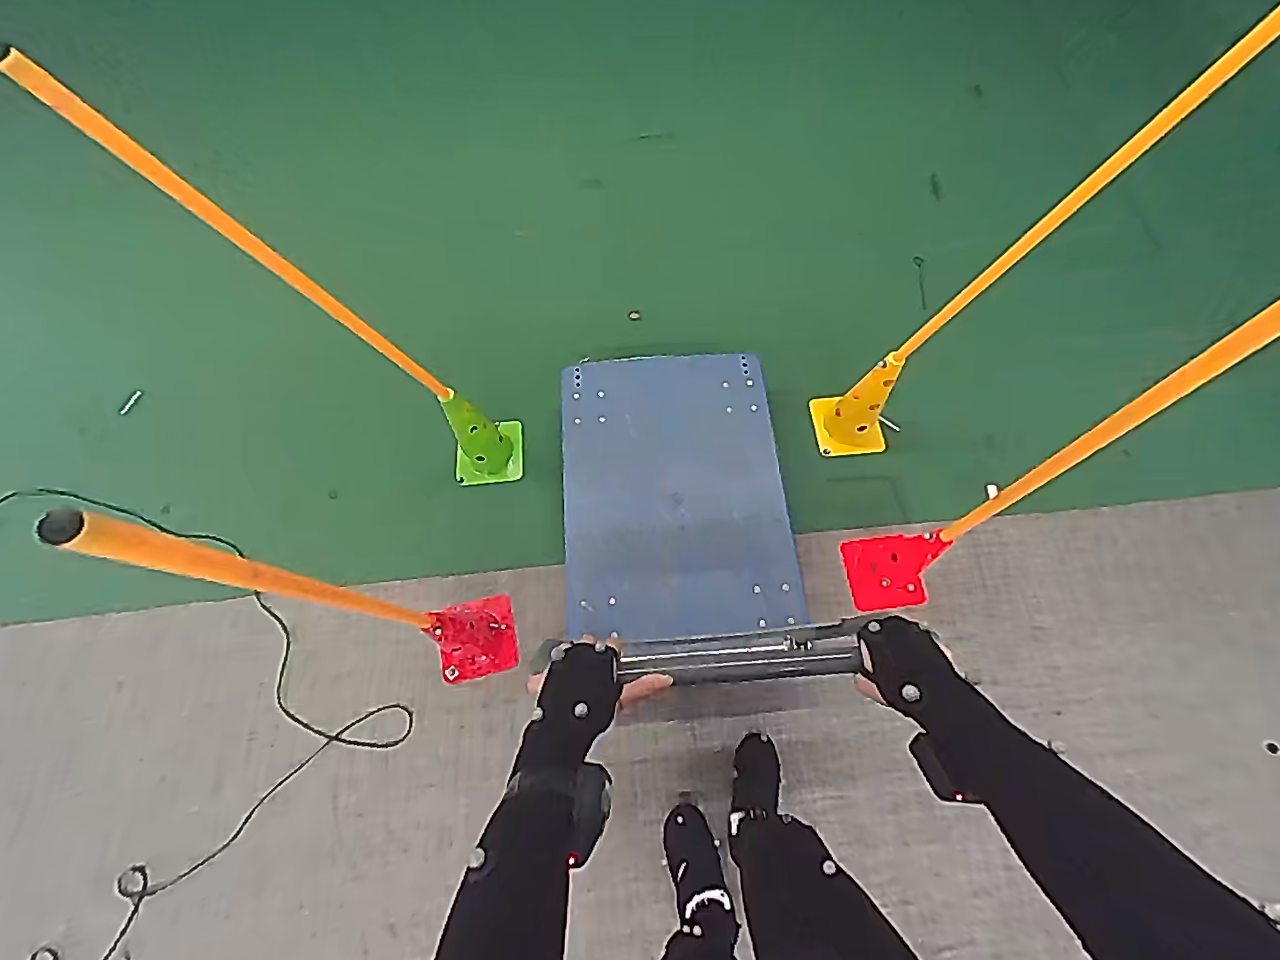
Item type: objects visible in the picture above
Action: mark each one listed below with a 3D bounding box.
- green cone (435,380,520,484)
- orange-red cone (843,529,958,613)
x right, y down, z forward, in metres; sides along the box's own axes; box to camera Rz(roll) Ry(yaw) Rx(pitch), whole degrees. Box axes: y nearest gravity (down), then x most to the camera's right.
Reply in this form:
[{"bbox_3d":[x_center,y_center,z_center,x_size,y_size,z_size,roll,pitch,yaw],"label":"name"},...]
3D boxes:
[{"bbox_3d":[-0.468,-0.152,1.474,0.200,0.368,0.202,-6,67,0],"label":"green cone"},{"bbox_3d":[0.661,0.189,1.314,0.198,0.360,0.199,-5,66,-2],"label":"orange-red cone"}]
